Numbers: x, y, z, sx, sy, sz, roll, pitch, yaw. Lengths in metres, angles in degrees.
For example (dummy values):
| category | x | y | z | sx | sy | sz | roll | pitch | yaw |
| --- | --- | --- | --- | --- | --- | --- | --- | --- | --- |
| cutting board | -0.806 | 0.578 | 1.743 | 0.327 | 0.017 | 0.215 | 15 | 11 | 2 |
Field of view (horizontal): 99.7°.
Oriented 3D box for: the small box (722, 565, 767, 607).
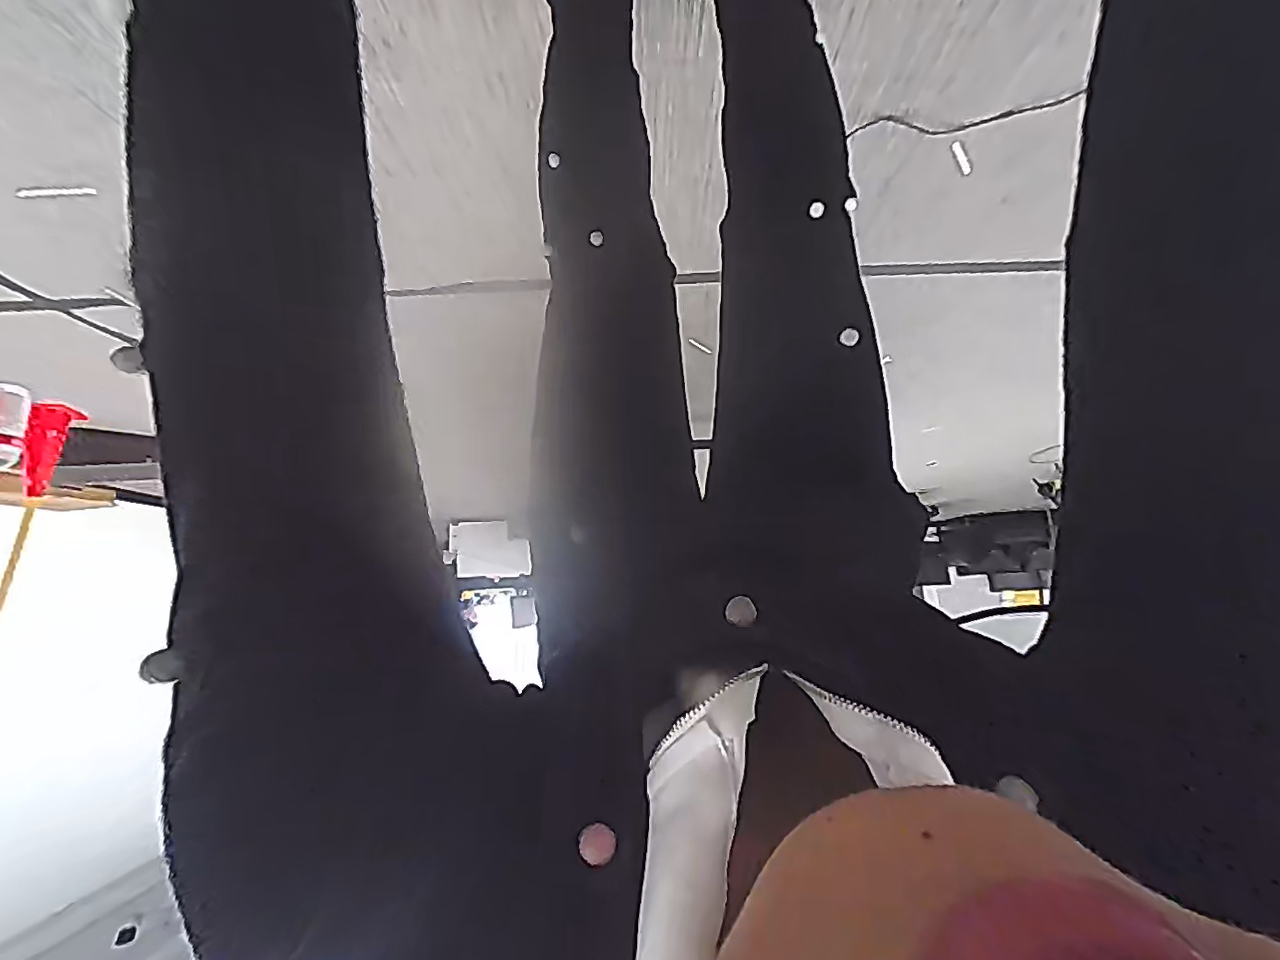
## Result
| category | x | y | z | sx | sy | sz | roll | pitch | yaw |
| --- | --- | --- | --- | --- | --- | --- | --- | --- | --- |
| small box | 0.446 | 0.456 | 2.336 | 0.168 | 0.176 | 0.179 | -3 | 168 | 2 |
